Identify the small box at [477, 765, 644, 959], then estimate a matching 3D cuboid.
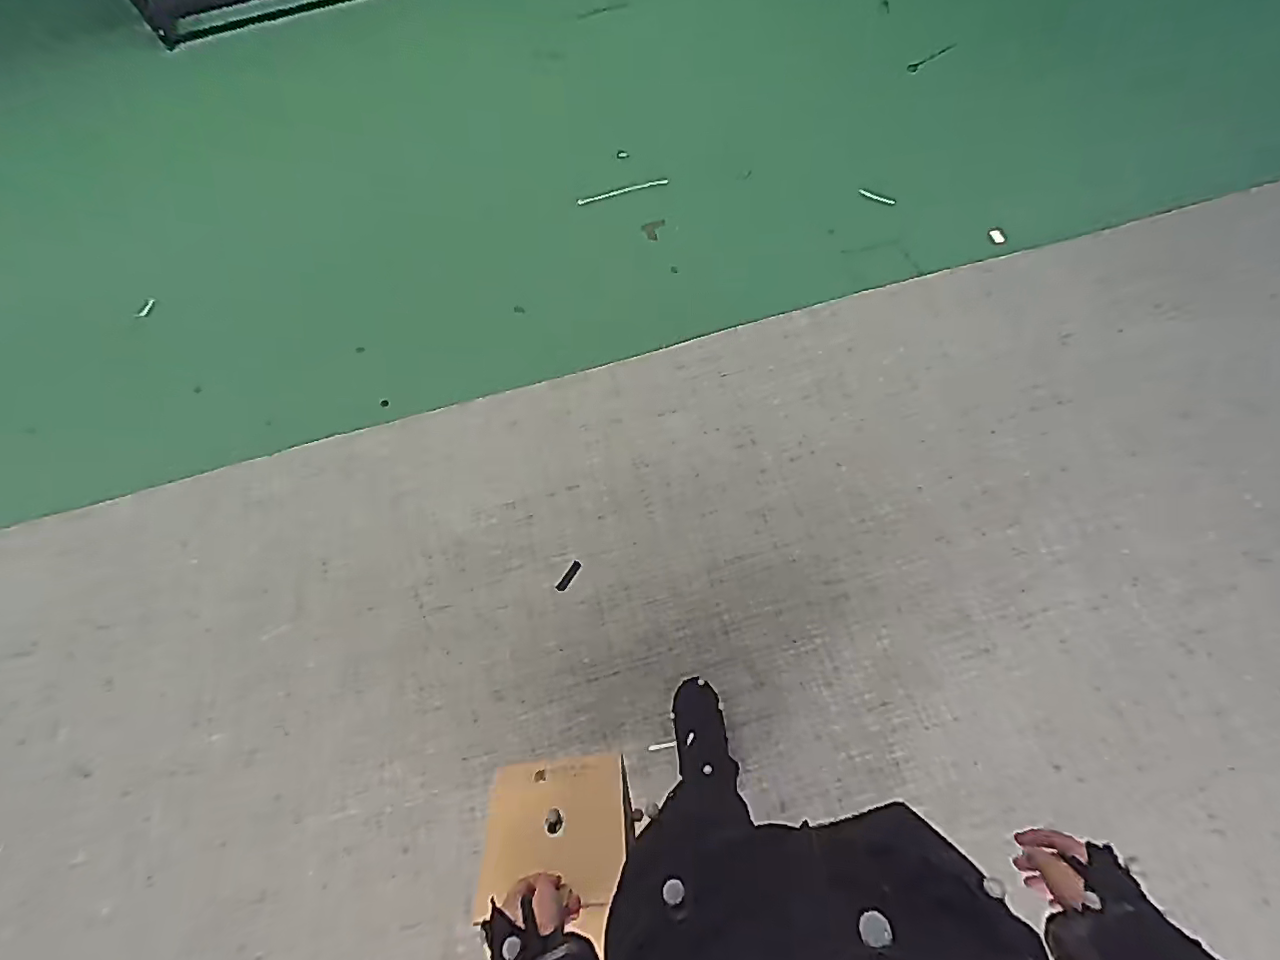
[{"bbox_3d":[-0.090,0.475,0.667,0.168,0.179,0.176,-7,32,-1],"label":"small box"}]
